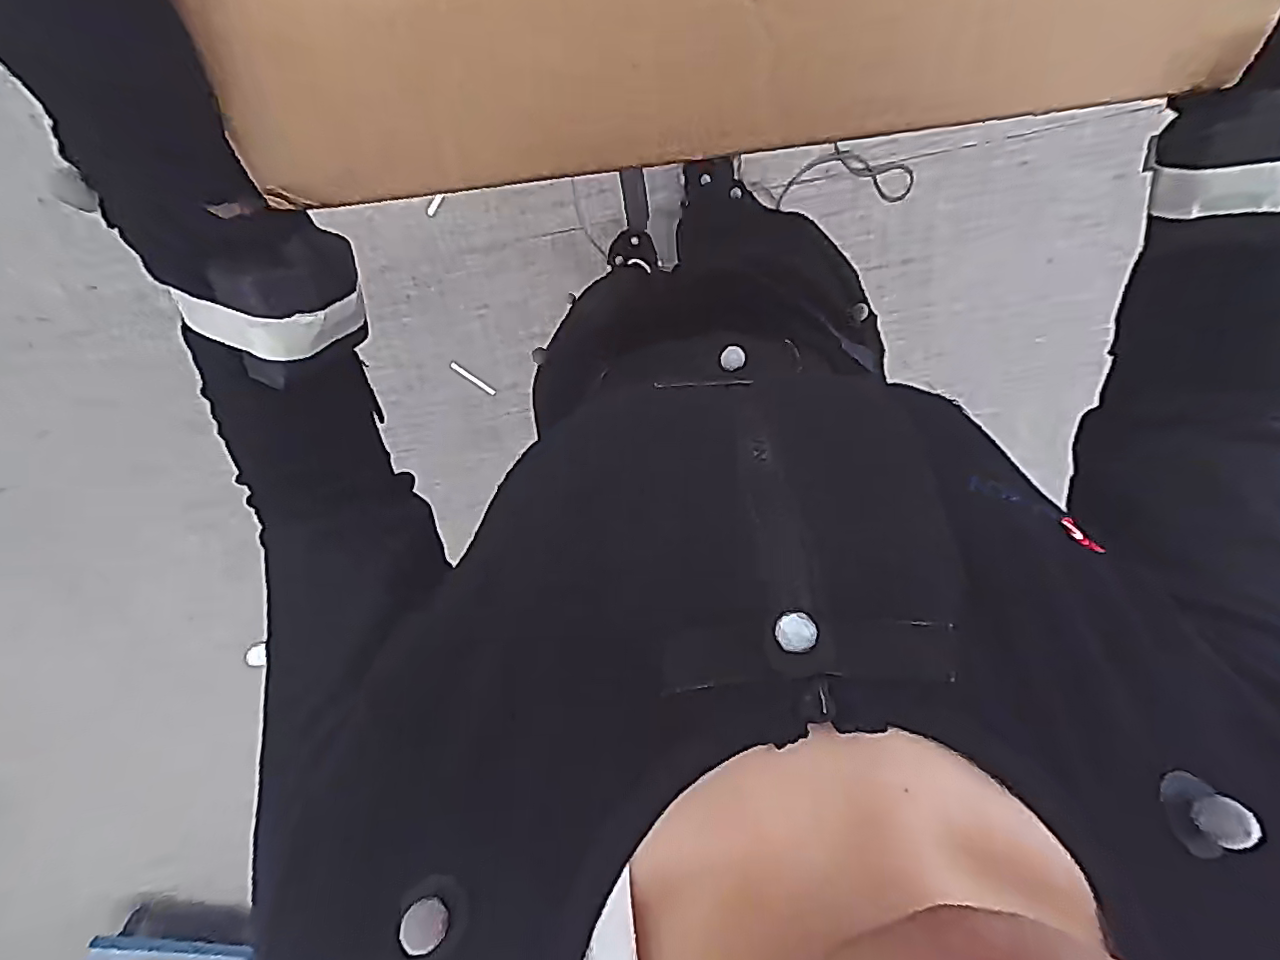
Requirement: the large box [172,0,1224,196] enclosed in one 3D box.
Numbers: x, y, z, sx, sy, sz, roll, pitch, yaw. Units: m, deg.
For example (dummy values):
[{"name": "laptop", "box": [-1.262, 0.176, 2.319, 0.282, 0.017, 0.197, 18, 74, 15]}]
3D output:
[{"name": "large box", "box": [0.014, -0.361, 0.220, 0.408, 0.320, 0.320, -7, 137, 1]}]
